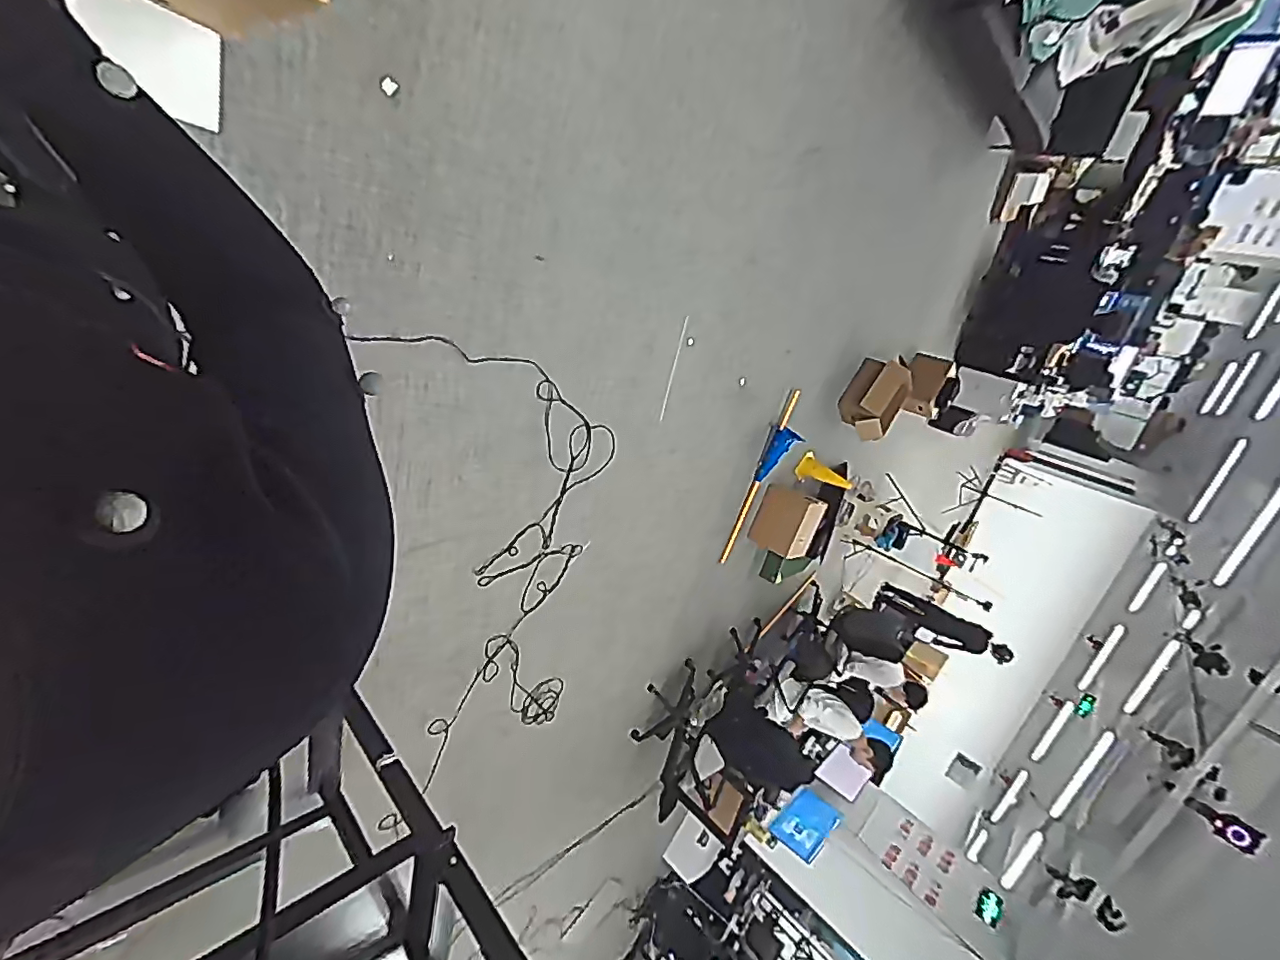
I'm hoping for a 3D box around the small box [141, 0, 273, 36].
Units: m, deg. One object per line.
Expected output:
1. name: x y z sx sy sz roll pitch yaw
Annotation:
1. small box: -0.449 -0.554 0.495 0.168 0.176 0.179 -2 116 -48
